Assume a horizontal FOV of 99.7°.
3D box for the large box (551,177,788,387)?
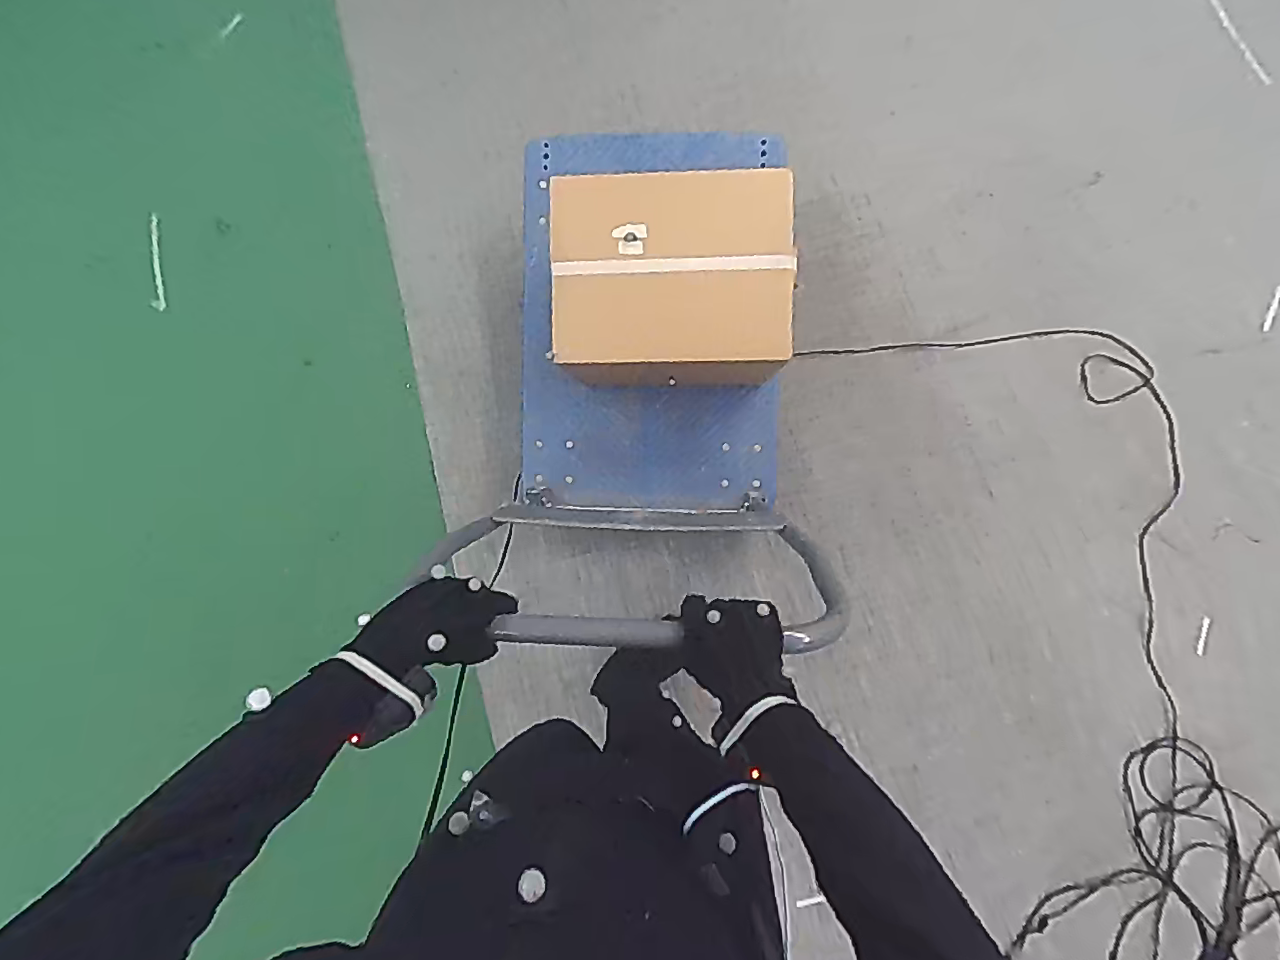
[{"bbox_3d":[0.063,-0.355,1.066,0.408,0.320,0.320,0,93,5],"label":"large box"}]
